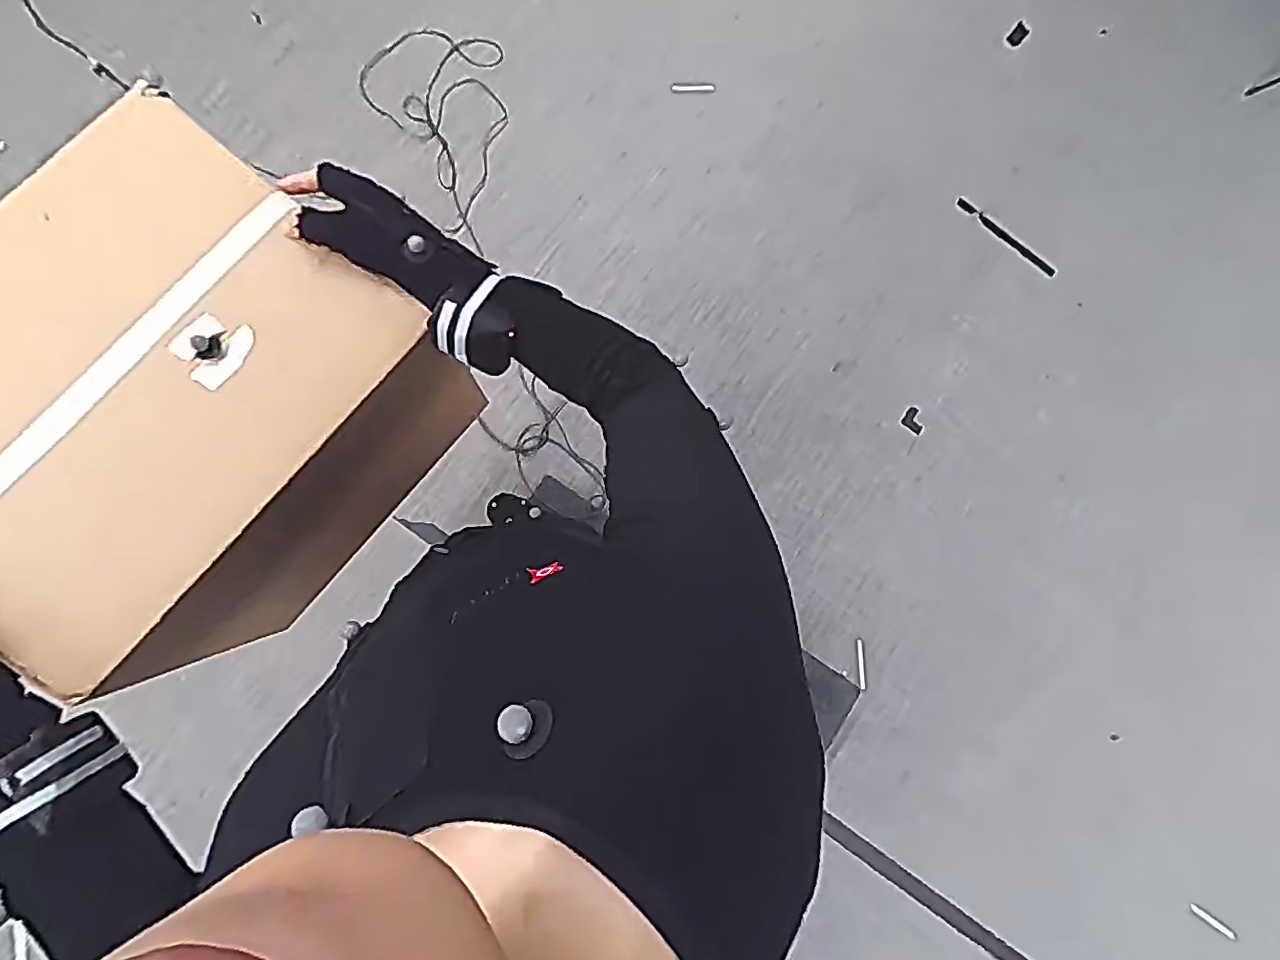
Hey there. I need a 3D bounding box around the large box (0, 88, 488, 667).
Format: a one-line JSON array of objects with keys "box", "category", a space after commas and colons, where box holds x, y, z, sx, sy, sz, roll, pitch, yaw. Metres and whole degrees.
[{"box": [-0.432, -0.081, 0.592, 0.320, 0.320, 0.408, 39, 80, -3], "category": "large box"}]

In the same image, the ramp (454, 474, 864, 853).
[{"box": [0.029, 0.443, 1.426, 0.991, 0.206, 0.509, 33, 82, -1], "category": "ramp"}]
